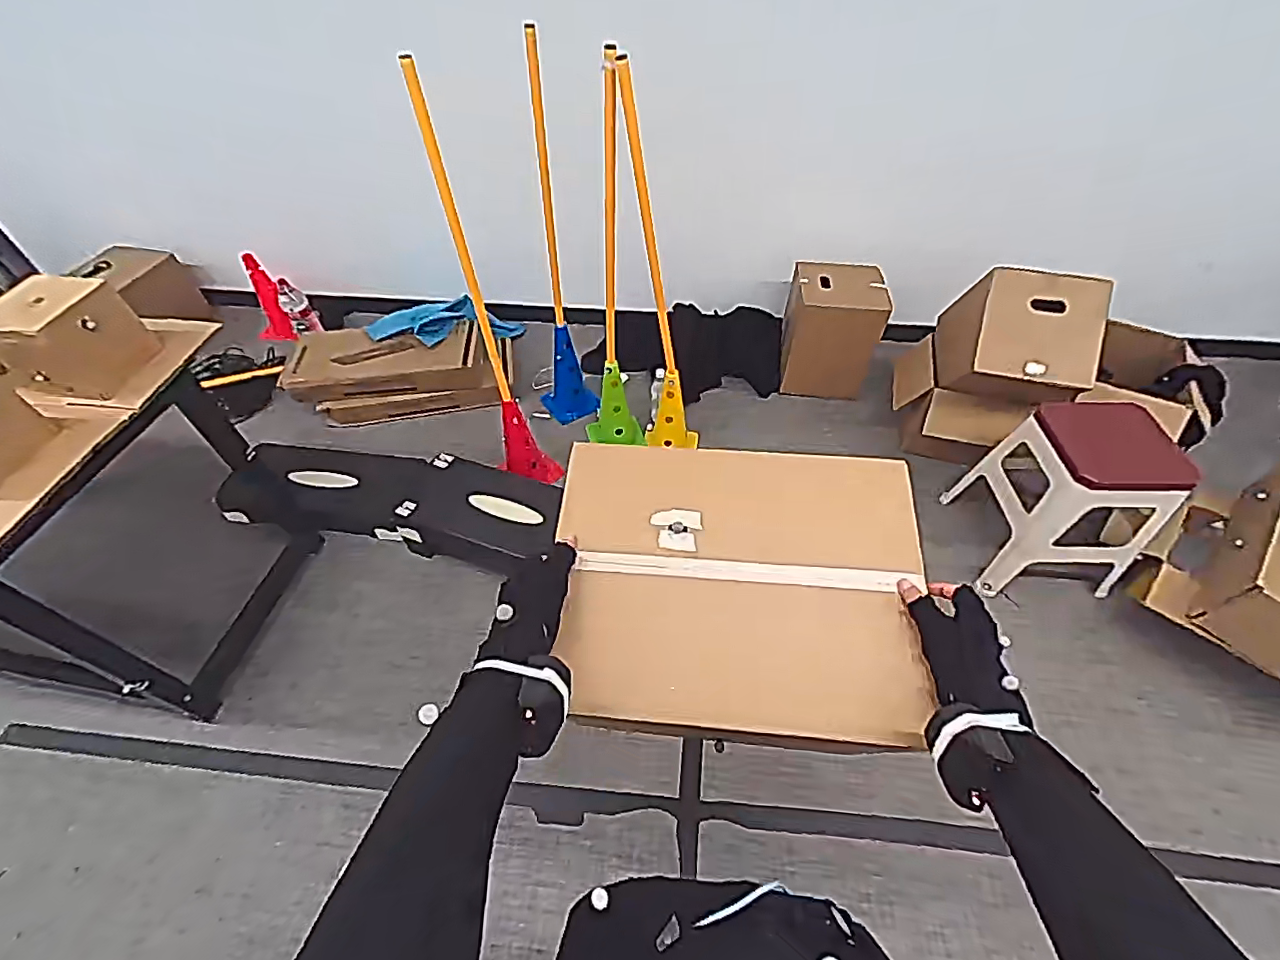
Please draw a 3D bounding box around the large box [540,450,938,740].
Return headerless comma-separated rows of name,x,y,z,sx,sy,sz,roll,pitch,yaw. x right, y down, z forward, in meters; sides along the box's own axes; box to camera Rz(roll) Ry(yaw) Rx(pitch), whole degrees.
large box,0.115,0.172,0.738,0.408,0.320,0.320,3,62,5
